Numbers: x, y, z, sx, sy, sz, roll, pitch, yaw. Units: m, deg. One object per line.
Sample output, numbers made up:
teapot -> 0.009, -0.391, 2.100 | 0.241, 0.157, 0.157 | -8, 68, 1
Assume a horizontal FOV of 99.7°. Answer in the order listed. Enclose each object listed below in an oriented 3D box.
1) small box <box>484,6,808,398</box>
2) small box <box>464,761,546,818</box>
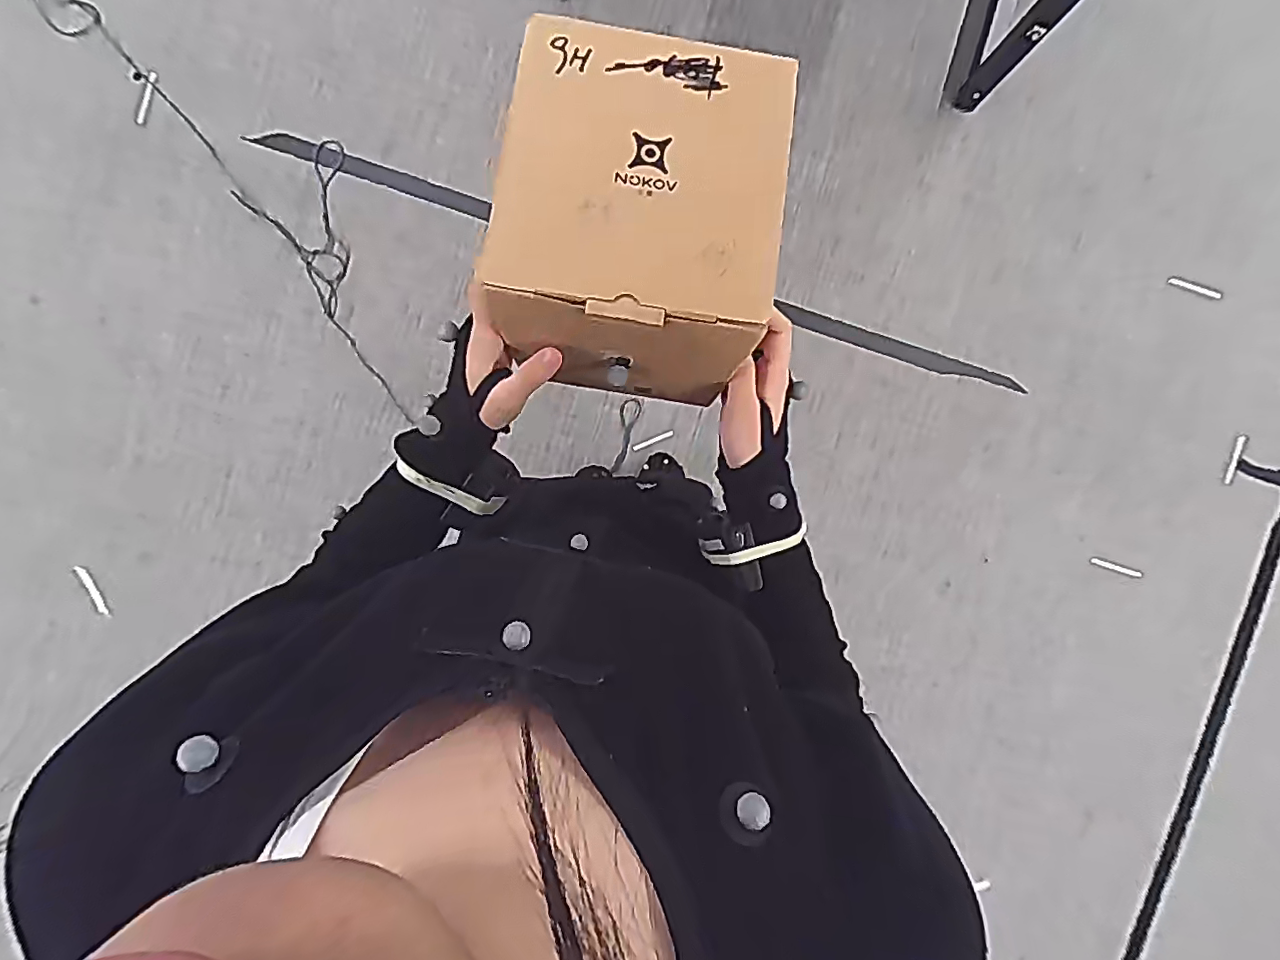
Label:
small box -> 0.002, -0.169, 0.386 | 0.168, 0.176, 0.179 | 9, 83, -3
small box -> -0.363, 0.876, 1.423 | 0.179, 0.176, 0.168 | 19, 92, -3
